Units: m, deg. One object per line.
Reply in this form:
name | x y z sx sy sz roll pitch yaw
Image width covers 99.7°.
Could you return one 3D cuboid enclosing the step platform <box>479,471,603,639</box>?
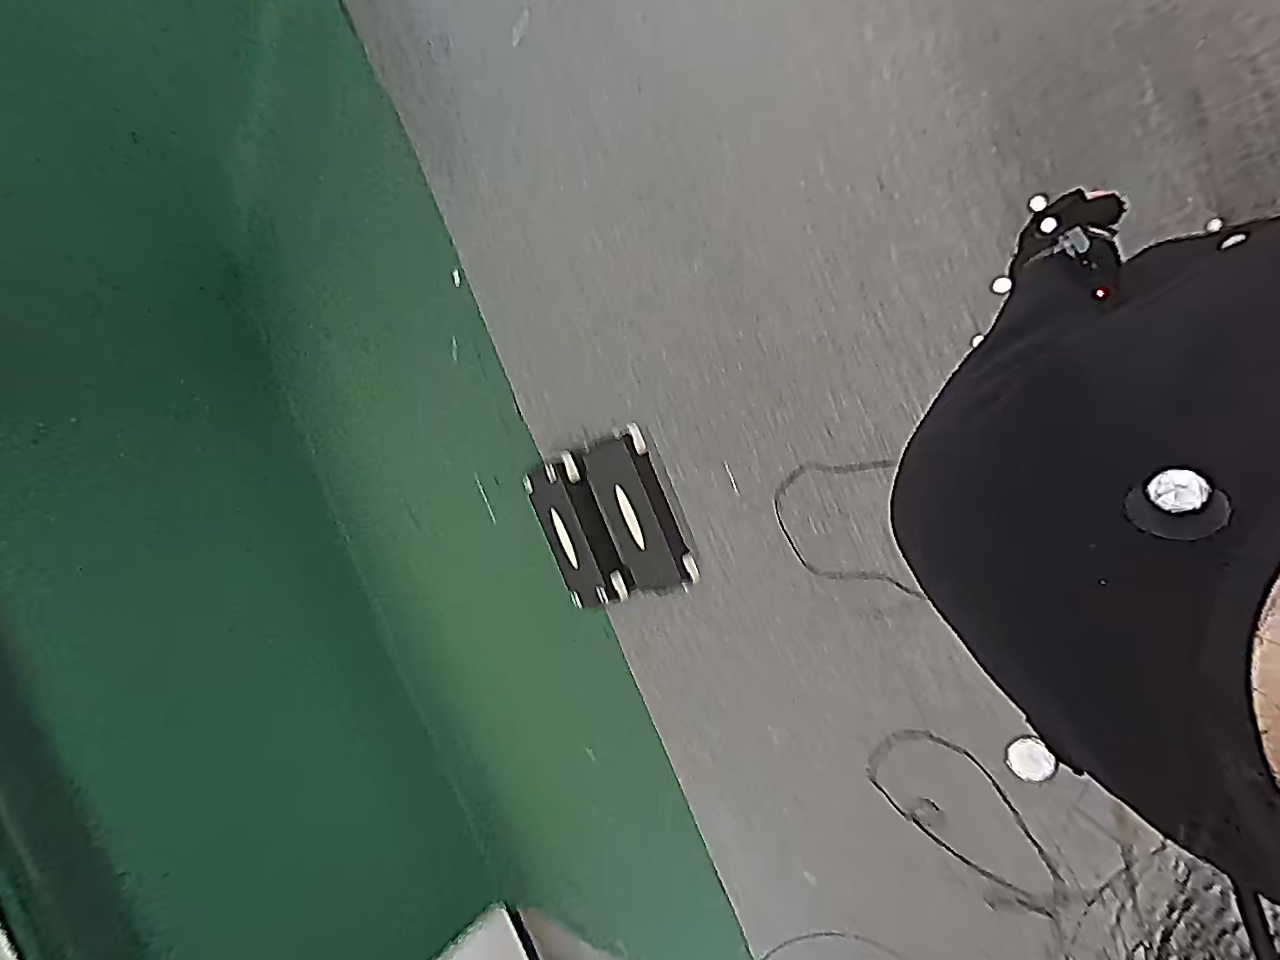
step platform | -0.410 0.309 2.259 0.286 0.204 0.684 -20 94 45
